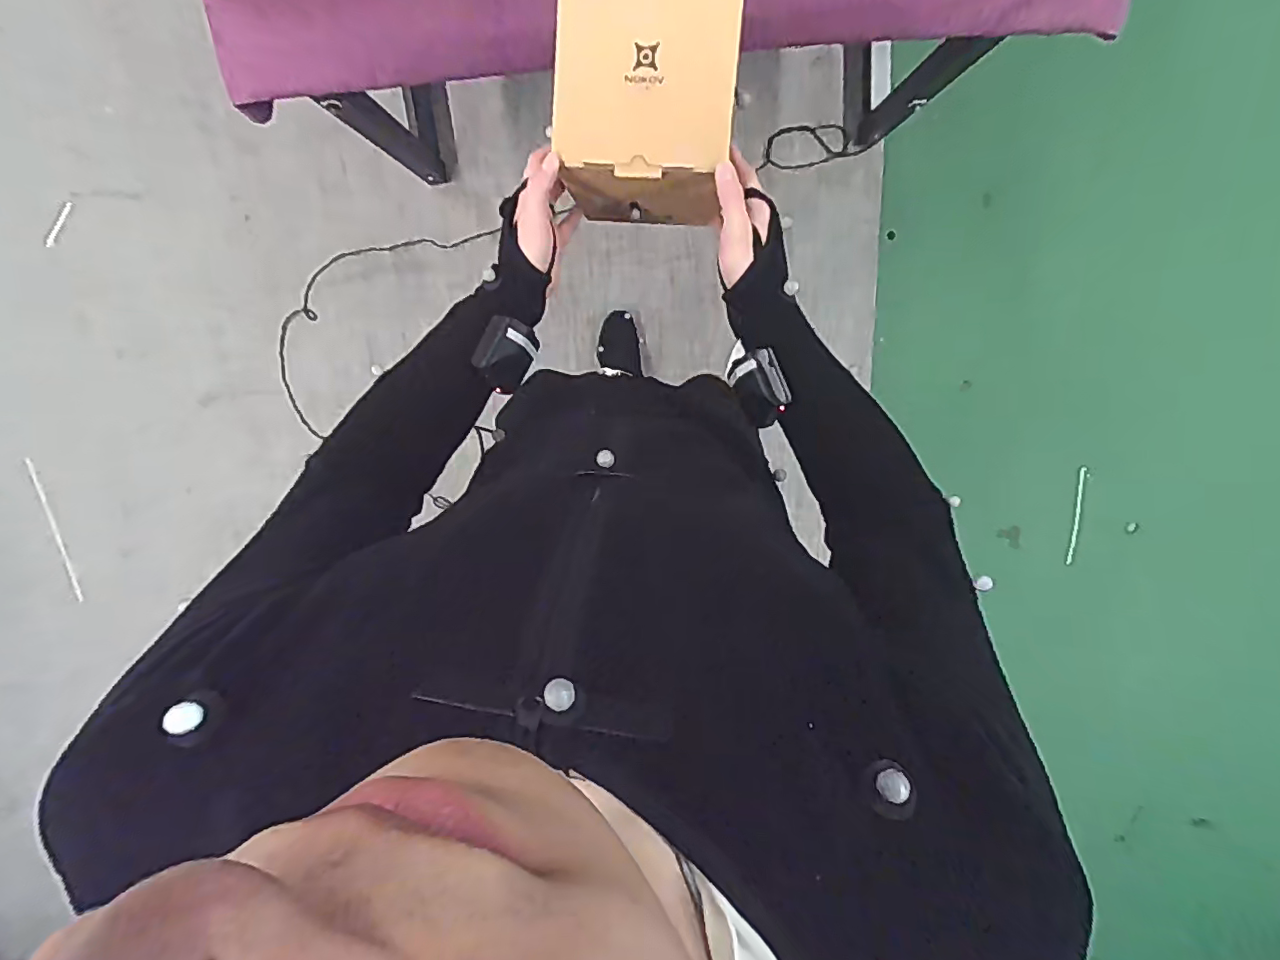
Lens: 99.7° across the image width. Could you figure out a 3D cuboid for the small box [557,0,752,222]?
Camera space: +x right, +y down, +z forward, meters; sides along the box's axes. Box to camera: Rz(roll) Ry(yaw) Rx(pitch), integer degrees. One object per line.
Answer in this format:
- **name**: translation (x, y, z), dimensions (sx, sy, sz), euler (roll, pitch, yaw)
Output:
- **small box**: translation (0.016, -0.386, 0.555), dimensions (0.168, 0.176, 0.179), euler (5, 101, 4)
